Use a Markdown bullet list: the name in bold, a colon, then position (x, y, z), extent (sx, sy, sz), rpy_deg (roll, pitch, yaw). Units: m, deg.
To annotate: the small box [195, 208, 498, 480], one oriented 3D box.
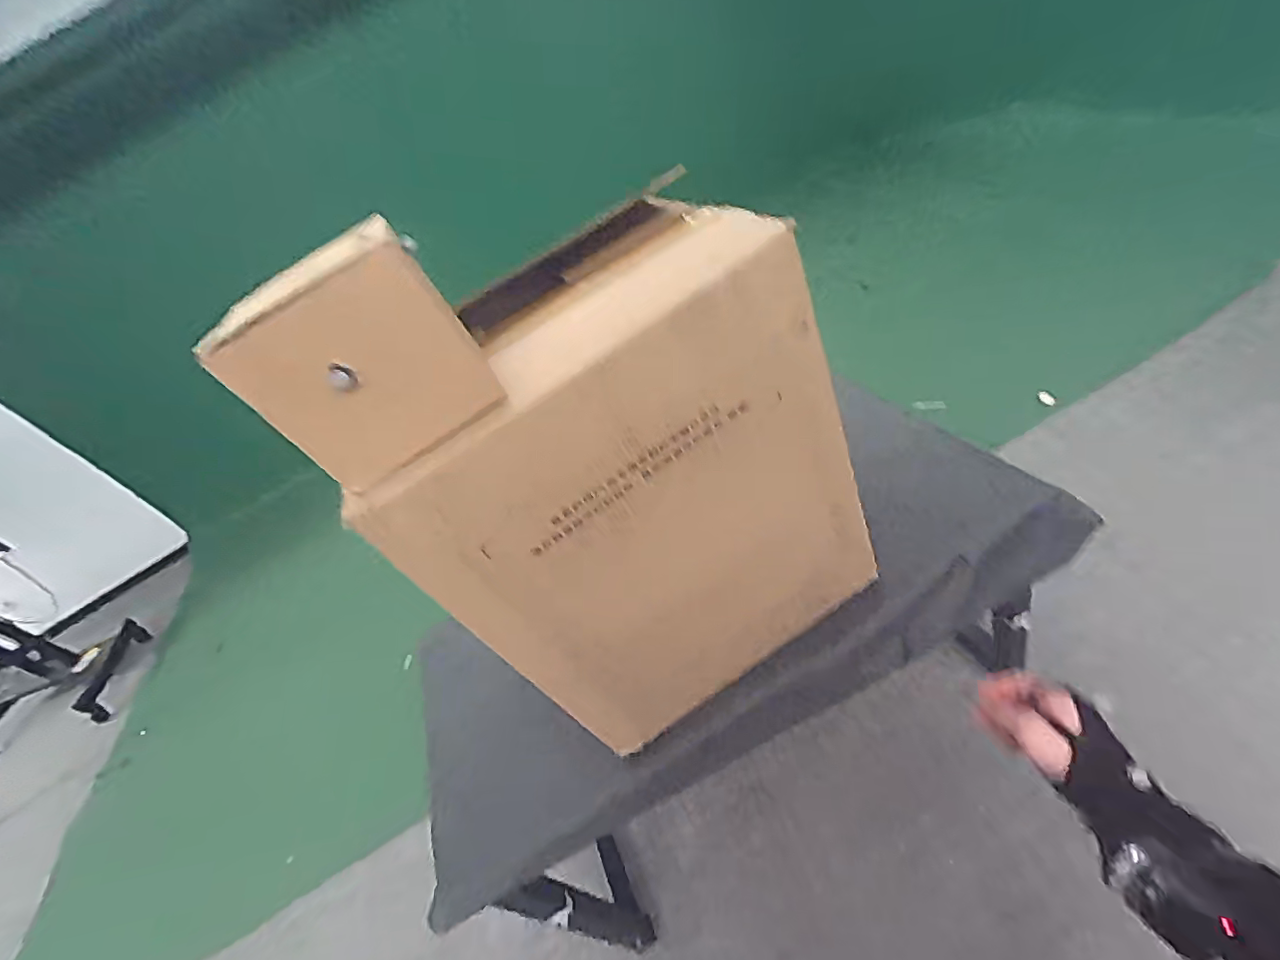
- **small box**: position (-0.270, -0.132, 0.532), extent (0.179, 0.176, 0.168), rpy_deg (-35, 41, -2)
